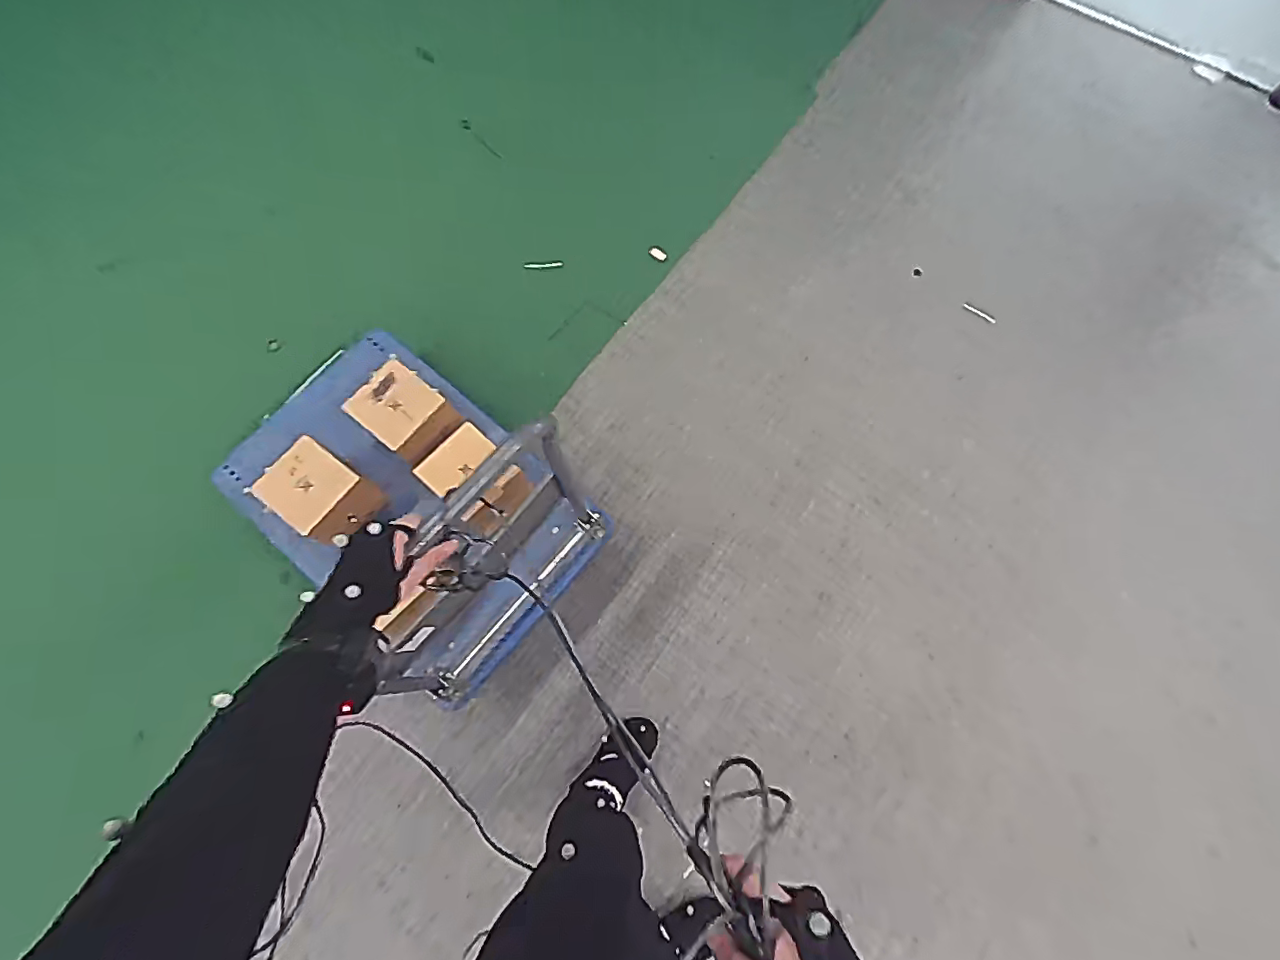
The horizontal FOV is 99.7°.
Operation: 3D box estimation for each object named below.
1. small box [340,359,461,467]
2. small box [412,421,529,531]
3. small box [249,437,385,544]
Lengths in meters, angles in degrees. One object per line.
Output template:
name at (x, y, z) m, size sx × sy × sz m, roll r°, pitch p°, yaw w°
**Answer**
small box at (-0.570, -0.153, 1.312) m, size 0.179 × 0.176 × 0.168 m, roll 38°, pitch 78°, yaw 9°
small box at (-0.388, 0.000, 1.268) m, size 0.179 × 0.176 × 0.168 m, roll 41°, pitch 77°, yaw 10°
small box at (-0.736, 0.033, 1.257) m, size 0.179 × 0.176 × 0.168 m, roll 36°, pitch 76°, yaw 10°
